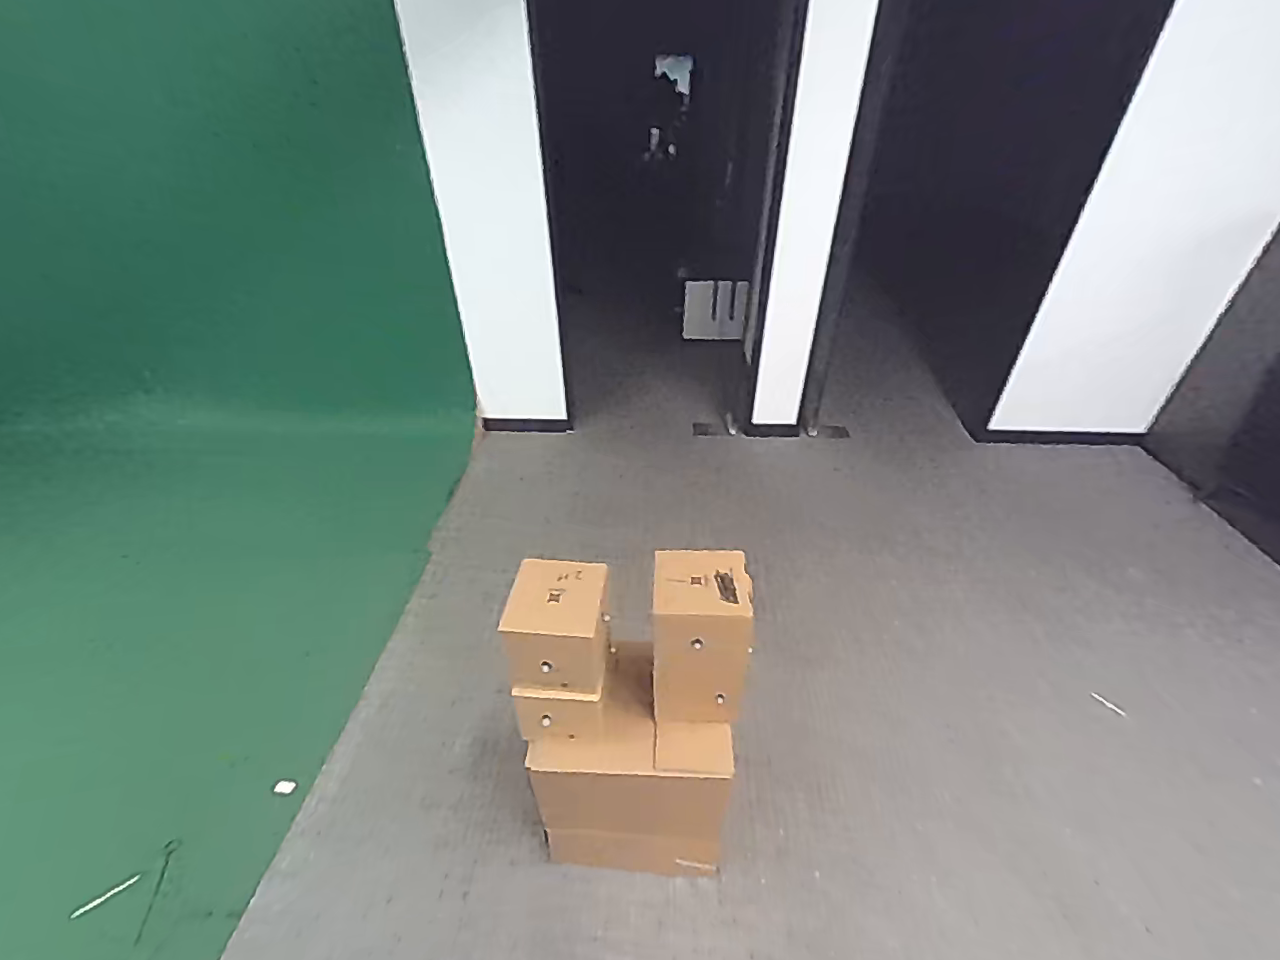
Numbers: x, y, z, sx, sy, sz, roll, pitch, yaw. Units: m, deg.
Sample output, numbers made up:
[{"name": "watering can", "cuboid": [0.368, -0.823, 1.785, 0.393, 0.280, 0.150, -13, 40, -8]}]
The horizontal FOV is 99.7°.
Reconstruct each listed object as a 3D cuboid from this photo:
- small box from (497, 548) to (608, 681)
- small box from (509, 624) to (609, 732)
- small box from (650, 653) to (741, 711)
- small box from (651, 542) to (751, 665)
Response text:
[{"name": "small box", "cuboid": [-0.153, 0.255, 1.021, 0.168, 0.176, 0.179, 5, 38, 4]}, {"name": "small box", "cuboid": [-0.155, 0.394, 1.111, 0.168, 0.176, 0.179, 3, 38, 3]}, {"name": "small box", "cuboid": [0.111, 0.370, 1.145, 0.179, 0.176, 0.168, 0, 37, 3]}, {"name": "small box", "cuboid": [0.112, 0.240, 1.045, 0.179, 0.176, 0.168, 1, 37, 4]}]
